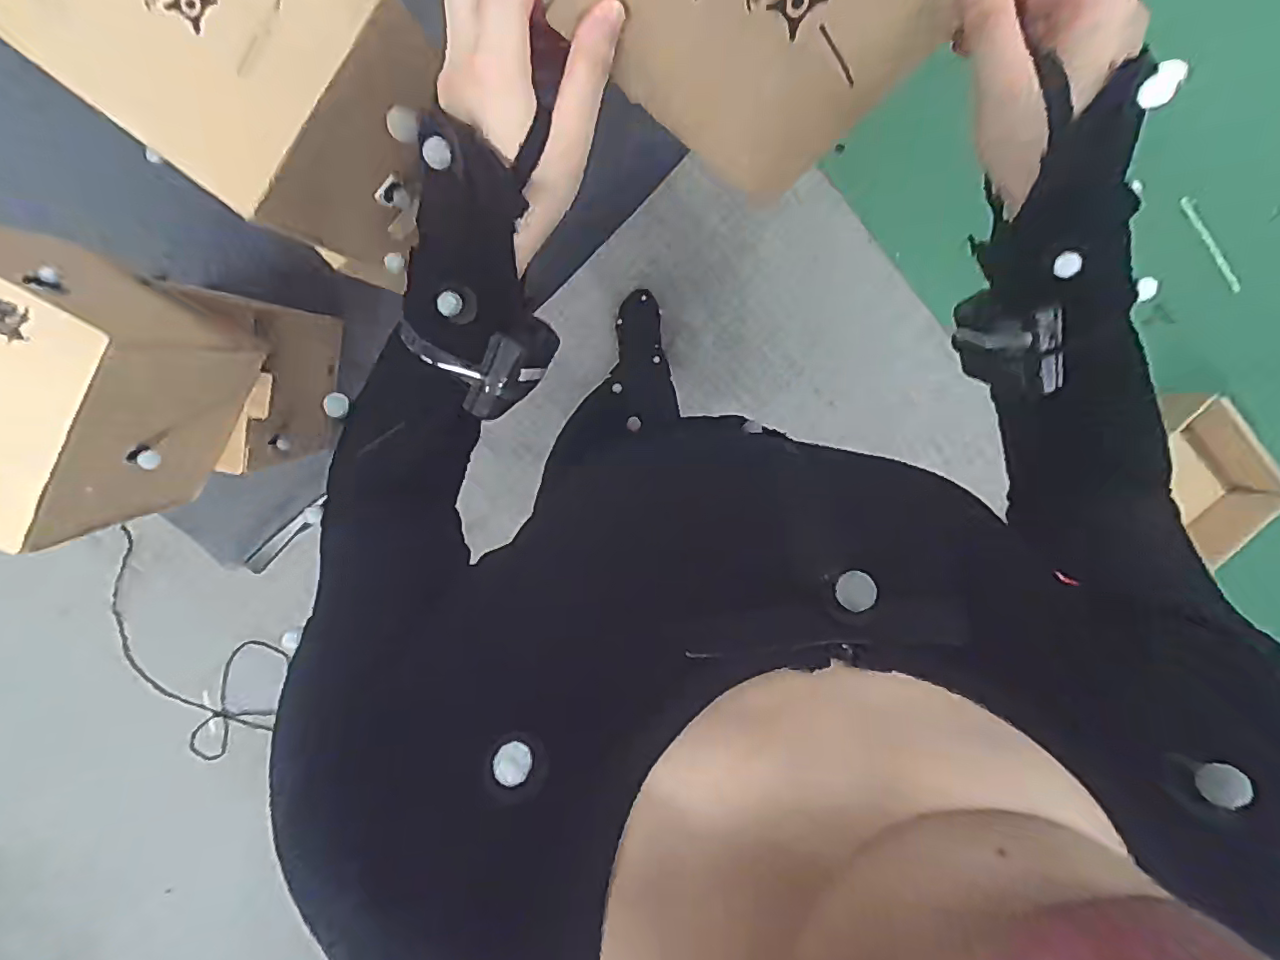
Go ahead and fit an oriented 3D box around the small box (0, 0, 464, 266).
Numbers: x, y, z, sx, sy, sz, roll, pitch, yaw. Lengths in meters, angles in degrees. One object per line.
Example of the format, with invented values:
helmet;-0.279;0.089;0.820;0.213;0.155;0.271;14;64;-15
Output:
small box;-0.264;-0.285;0.398;0.179;0.176;0.168;37;98;-9

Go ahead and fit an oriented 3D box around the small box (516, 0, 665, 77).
small box;-0.049;-0.556;0.520;0.168;0.176;0.179;44;97;-9

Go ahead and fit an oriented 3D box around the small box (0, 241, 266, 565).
small box;-0.450;-0.068;0.432;0.168;0.176;0.179;30;100;-8
